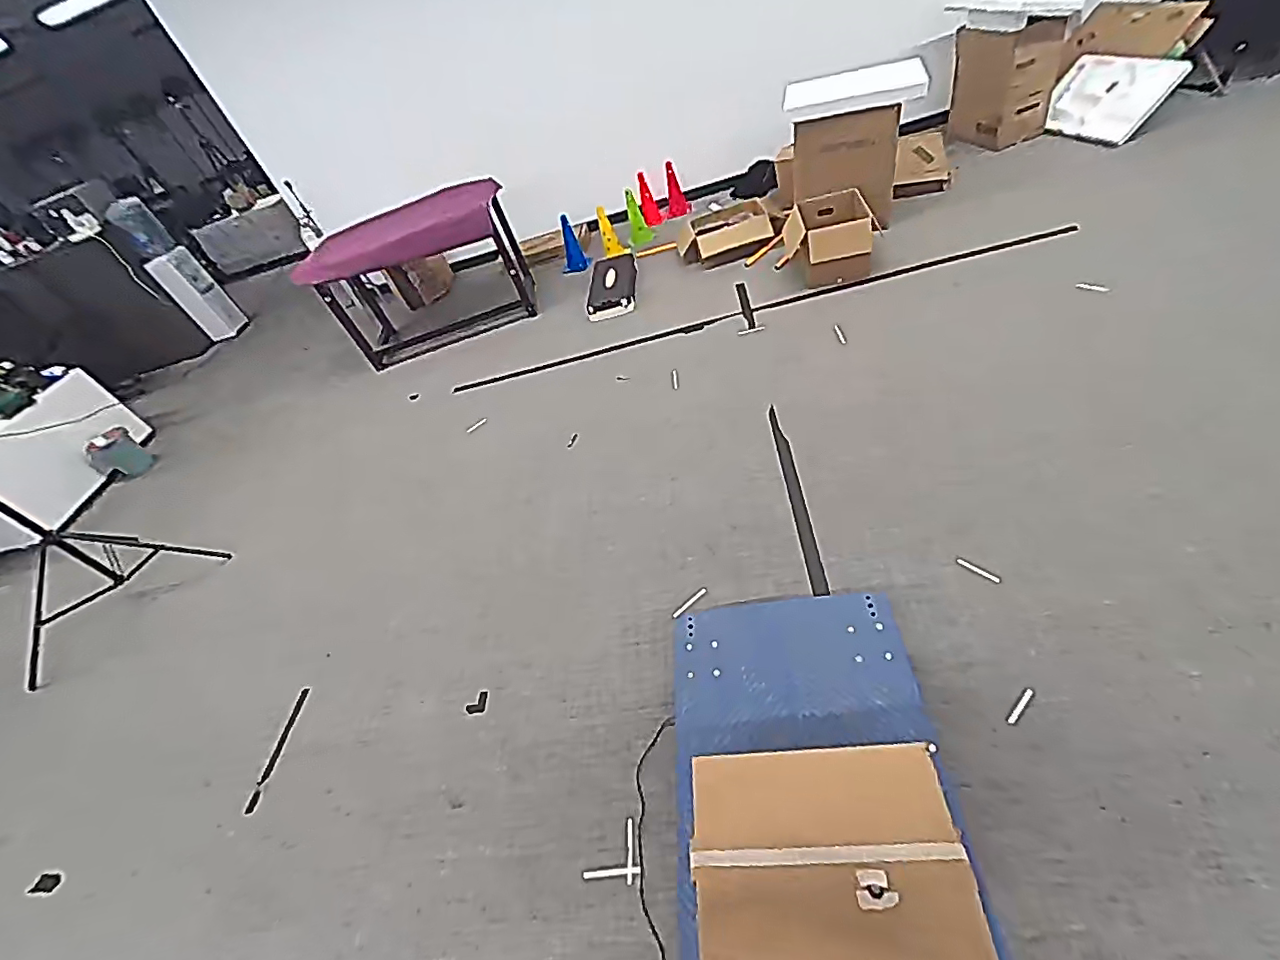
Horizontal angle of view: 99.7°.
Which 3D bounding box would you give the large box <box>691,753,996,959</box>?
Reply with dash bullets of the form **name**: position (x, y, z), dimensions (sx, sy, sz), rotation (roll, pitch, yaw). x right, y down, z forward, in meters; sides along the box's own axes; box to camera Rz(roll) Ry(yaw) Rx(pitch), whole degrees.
- **large box**: position (0.318, 0.699, 0.928), dimensions (0.408, 0.320, 0.320), rotation (-10, 44, 11)
